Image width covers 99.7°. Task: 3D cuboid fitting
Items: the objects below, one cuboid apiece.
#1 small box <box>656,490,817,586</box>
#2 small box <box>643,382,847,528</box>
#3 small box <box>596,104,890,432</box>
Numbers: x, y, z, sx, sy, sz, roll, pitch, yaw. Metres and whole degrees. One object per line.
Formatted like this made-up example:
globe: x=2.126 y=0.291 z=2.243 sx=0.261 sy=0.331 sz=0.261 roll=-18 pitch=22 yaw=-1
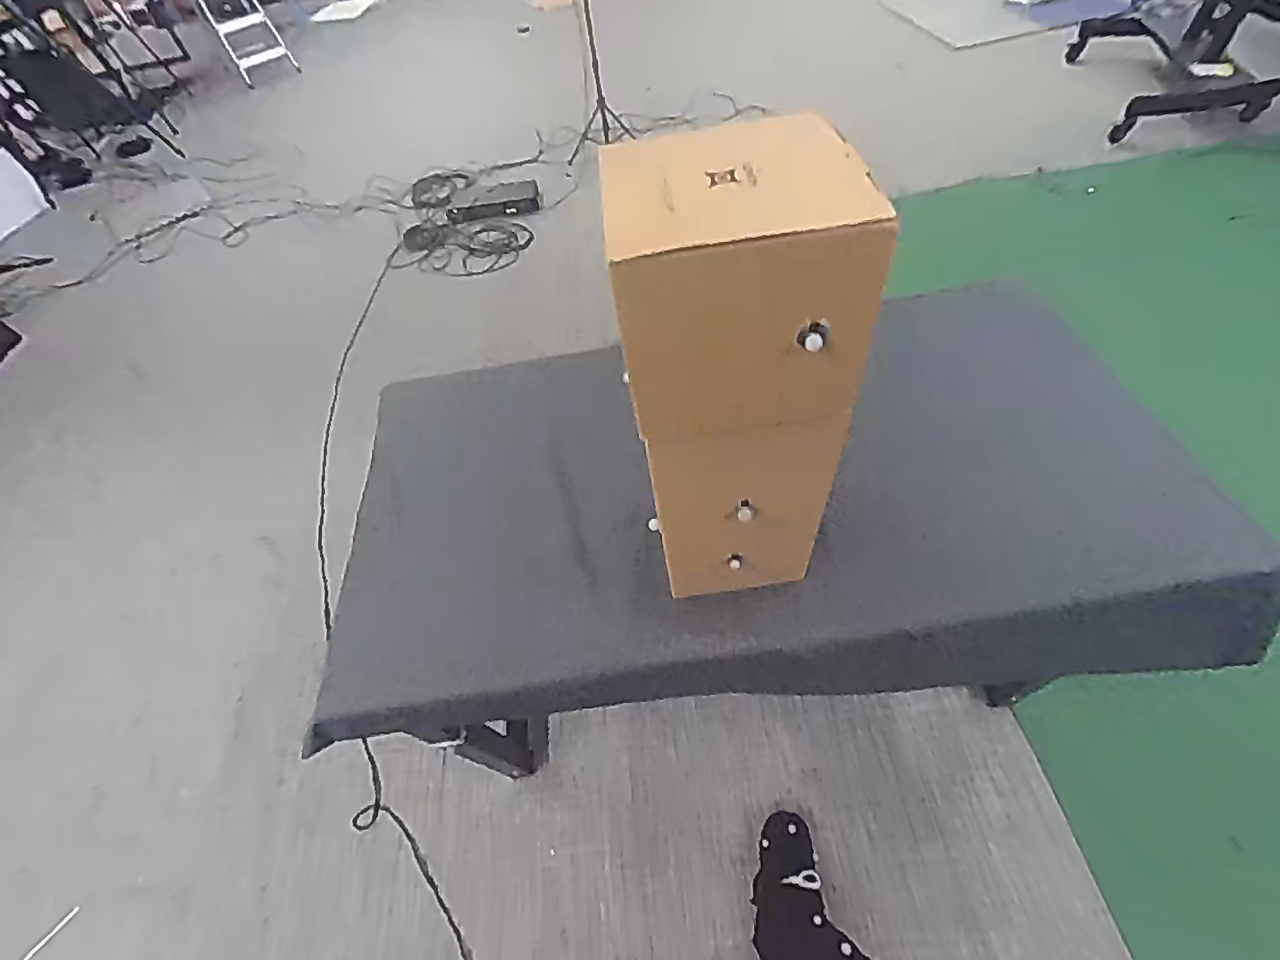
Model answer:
small box: x=0.110 y=0.021 z=0.700 sx=0.179 sy=0.176 sz=0.168 roll=-9 pitch=54 yaw=3
small box: x=0.090 y=-0.068 z=0.568 sx=0.179 sy=0.176 sz=0.168 roll=-11 pitch=55 yaw=2
small box: x=0.067 y=-0.159 z=0.432 sx=0.179 sy=0.176 sz=0.168 roll=-9 pitch=53 yaw=4
